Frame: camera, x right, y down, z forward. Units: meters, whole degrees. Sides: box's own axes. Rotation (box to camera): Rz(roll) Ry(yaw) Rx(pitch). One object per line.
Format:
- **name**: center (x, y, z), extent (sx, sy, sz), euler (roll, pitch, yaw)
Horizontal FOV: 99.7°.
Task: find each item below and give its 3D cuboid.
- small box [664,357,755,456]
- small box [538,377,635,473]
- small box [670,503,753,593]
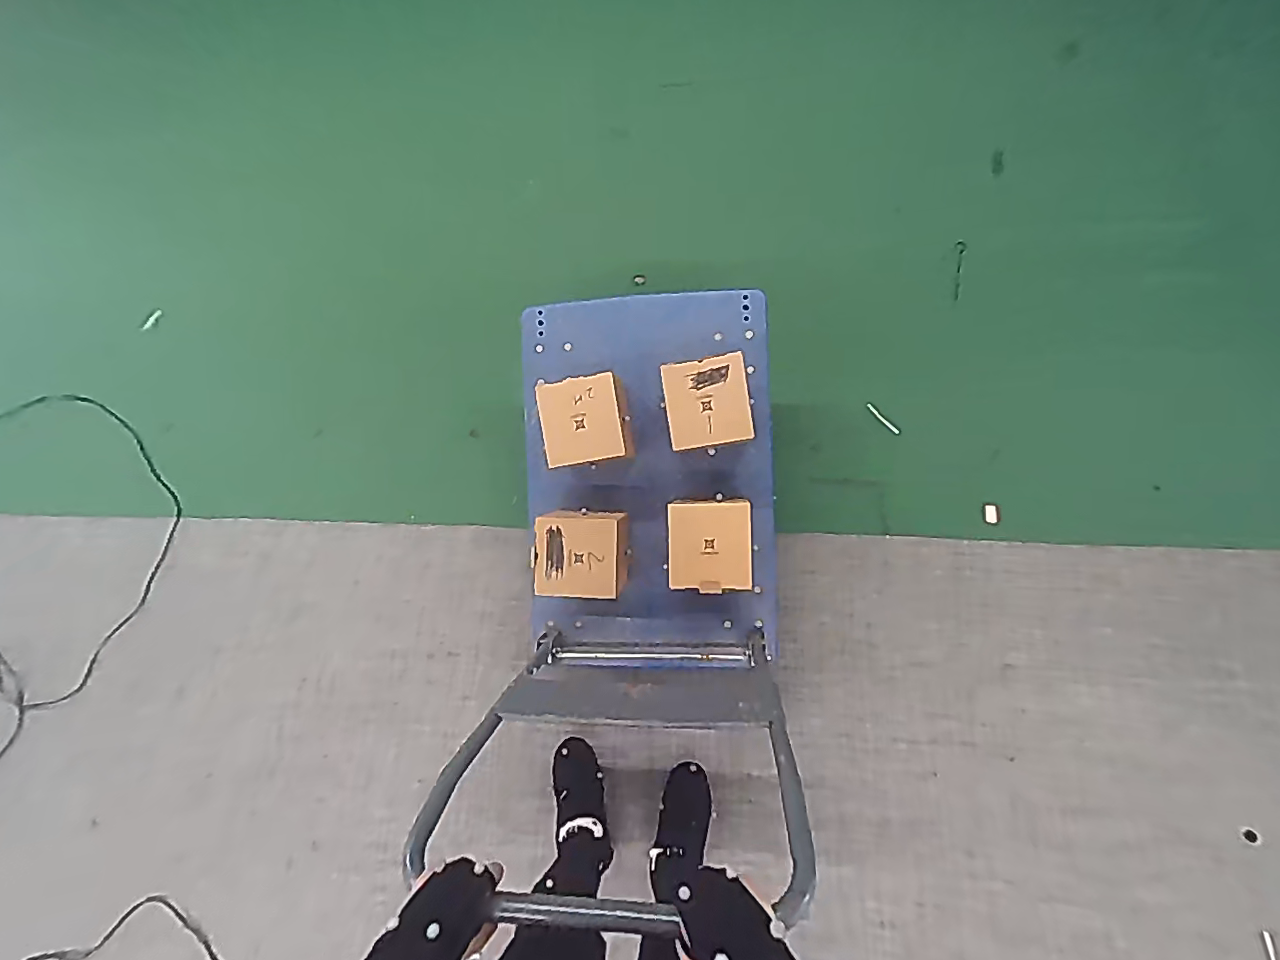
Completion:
- **small box**: center (0.146, -0.149, 1.155), extent (0.168, 0.176, 0.179), euler (-8, 90, 8)
- **small box**: center (-0.110, -0.115, 1.188), extent (0.168, 0.176, 0.179), euler (-9, 90, 7)
- **small box**: center (0.152, 0.139, 1.160), extent (0.168, 0.176, 0.179), euler (-1, 91, 8)
